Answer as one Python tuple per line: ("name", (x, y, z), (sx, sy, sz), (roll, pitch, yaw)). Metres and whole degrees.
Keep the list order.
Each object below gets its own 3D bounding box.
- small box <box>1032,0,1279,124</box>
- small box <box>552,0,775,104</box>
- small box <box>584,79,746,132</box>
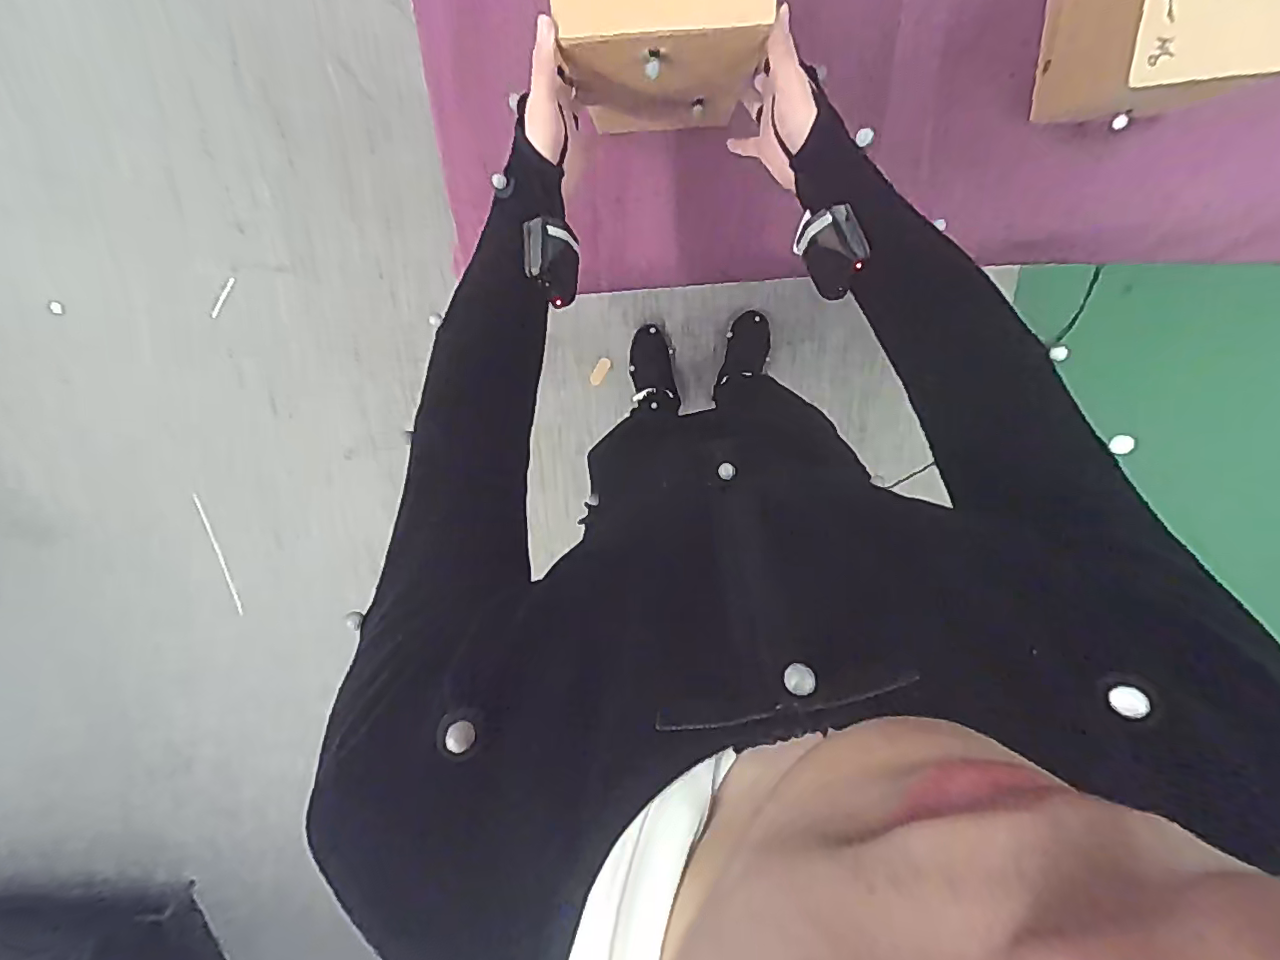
("small box", (0.580, -0.508, 0.589), (0.179, 0.176, 0.168), (-3, 111, 5))
("small box", (0.020, -0.452, 0.474), (0.179, 0.176, 0.168), (-1, 111, 5))
("small box", (0.027, -0.520, 0.626), (0.179, 0.176, 0.168), (-1, 111, 4))
